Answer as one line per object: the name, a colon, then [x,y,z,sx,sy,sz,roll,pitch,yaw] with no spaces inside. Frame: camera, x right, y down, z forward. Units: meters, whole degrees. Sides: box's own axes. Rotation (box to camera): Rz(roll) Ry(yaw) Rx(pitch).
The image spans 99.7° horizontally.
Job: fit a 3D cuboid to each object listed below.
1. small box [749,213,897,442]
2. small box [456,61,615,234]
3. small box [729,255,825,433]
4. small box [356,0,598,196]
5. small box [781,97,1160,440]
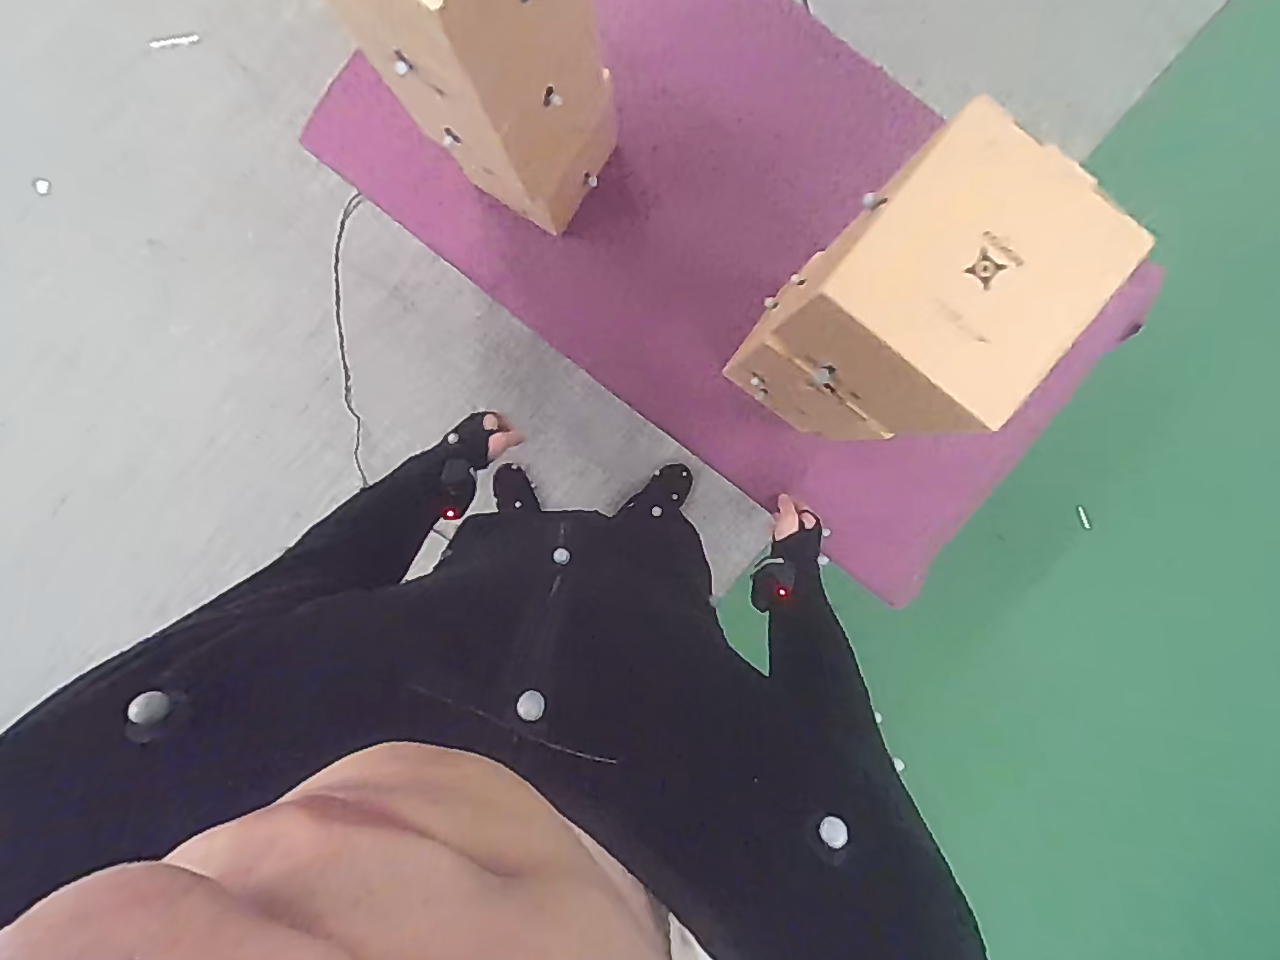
small box: [0.243,-0.158,0.617,0.168,0.176,0.179,38,92,-3]
small box: [-0.148,-0.483,0.749,0.168,0.176,0.179,32,94,-3]
small box: [0.246,-0.179,0.781,0.168,0.176,0.179,36,93,-3]
small box: [-0.156,-0.452,0.586,0.168,0.176,0.179,33,95,-4]
small box: [0.246,-0.151,0.454,0.168,0.176,0.179,39,93,-3]
